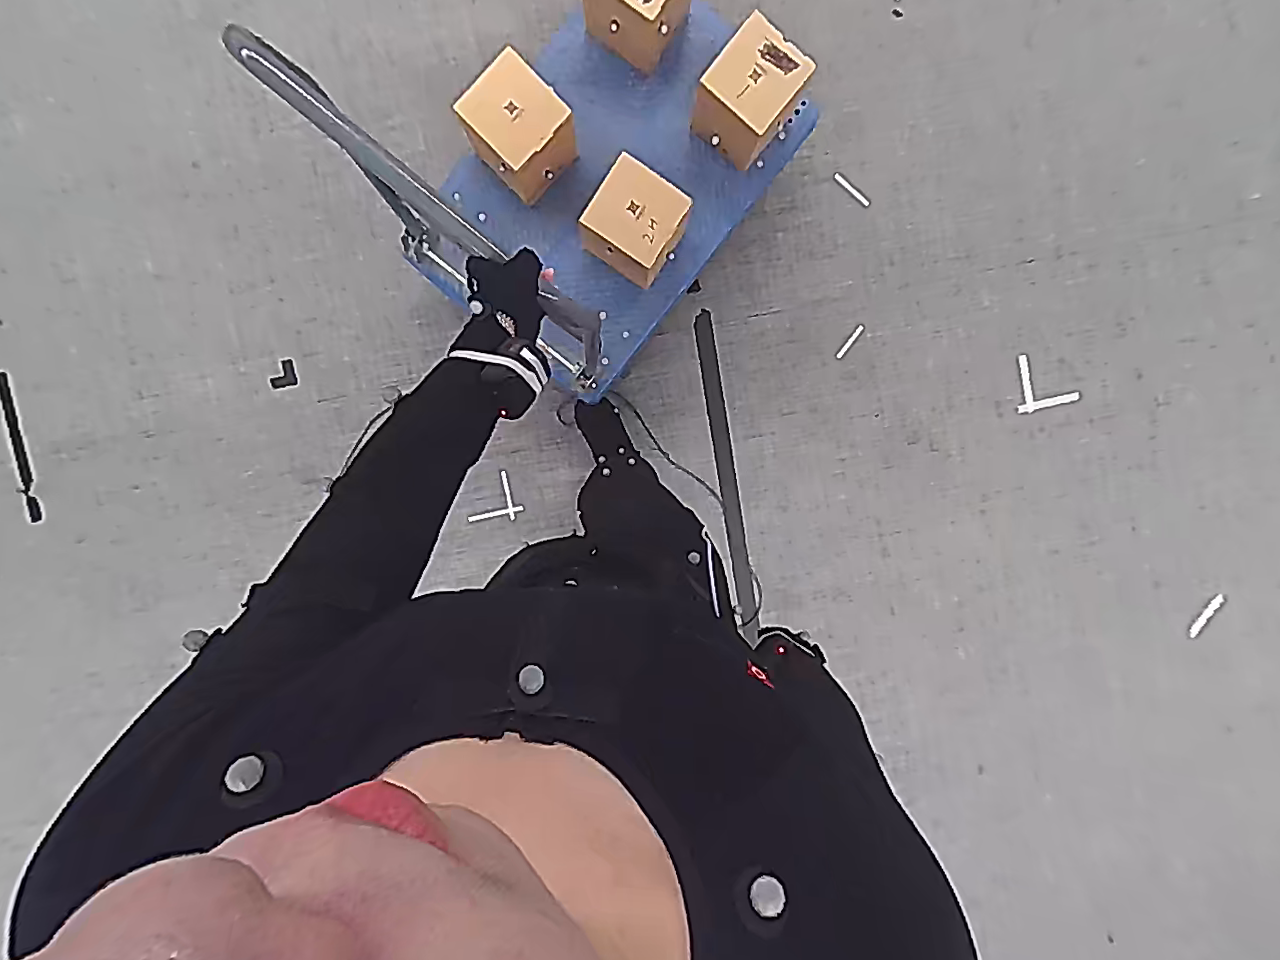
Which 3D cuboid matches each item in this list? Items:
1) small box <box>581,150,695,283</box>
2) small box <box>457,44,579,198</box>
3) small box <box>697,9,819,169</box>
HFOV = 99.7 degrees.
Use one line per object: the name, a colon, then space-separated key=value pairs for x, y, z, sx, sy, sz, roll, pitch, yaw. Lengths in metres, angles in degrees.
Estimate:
small box: x=-0.006 y=-0.553 z=1.166 sx=0.179 sy=0.176 sz=0.168 roll=34 pitch=94 yaw=-4
small box: x=-0.248 y=-0.741 z=1.142 sx=0.179 sy=0.176 sz=0.168 roll=44 pitch=92 yaw=-7
small box: x=0.238 y=-0.815 z=1.147 sx=0.168 sy=0.176 sz=0.179 roll=40 pitch=94 yaw=-5
